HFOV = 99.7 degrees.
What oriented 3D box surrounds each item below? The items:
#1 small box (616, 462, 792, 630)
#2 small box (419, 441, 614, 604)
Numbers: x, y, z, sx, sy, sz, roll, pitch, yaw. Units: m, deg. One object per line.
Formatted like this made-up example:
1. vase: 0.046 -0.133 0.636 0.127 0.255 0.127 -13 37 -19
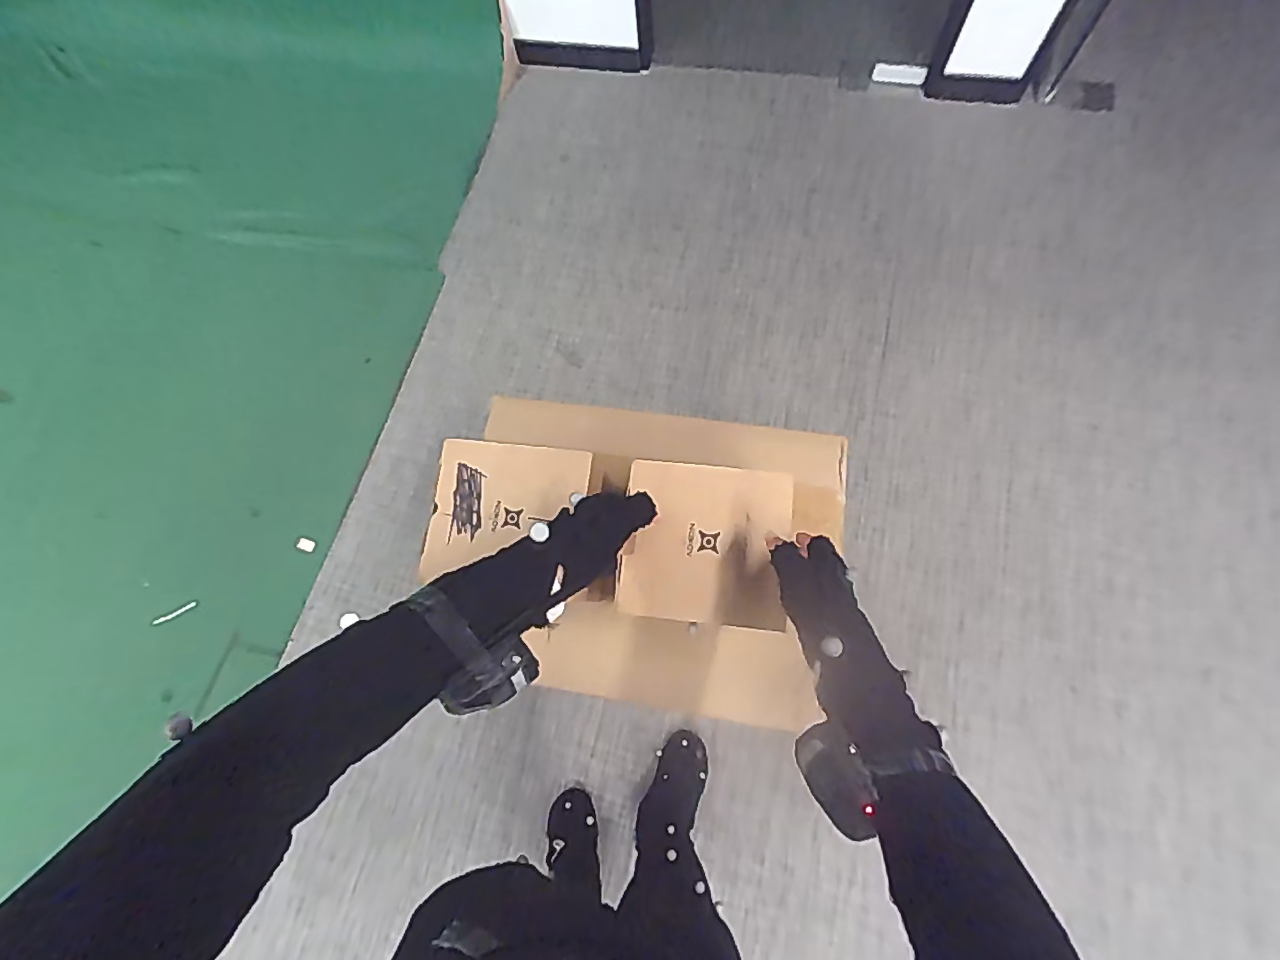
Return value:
1. small box: 0.075 0.082 0.646 0.179 0.176 0.168 5 79 5
2. small box: -0.138 0.060 0.671 0.179 0.176 0.168 6 78 6
